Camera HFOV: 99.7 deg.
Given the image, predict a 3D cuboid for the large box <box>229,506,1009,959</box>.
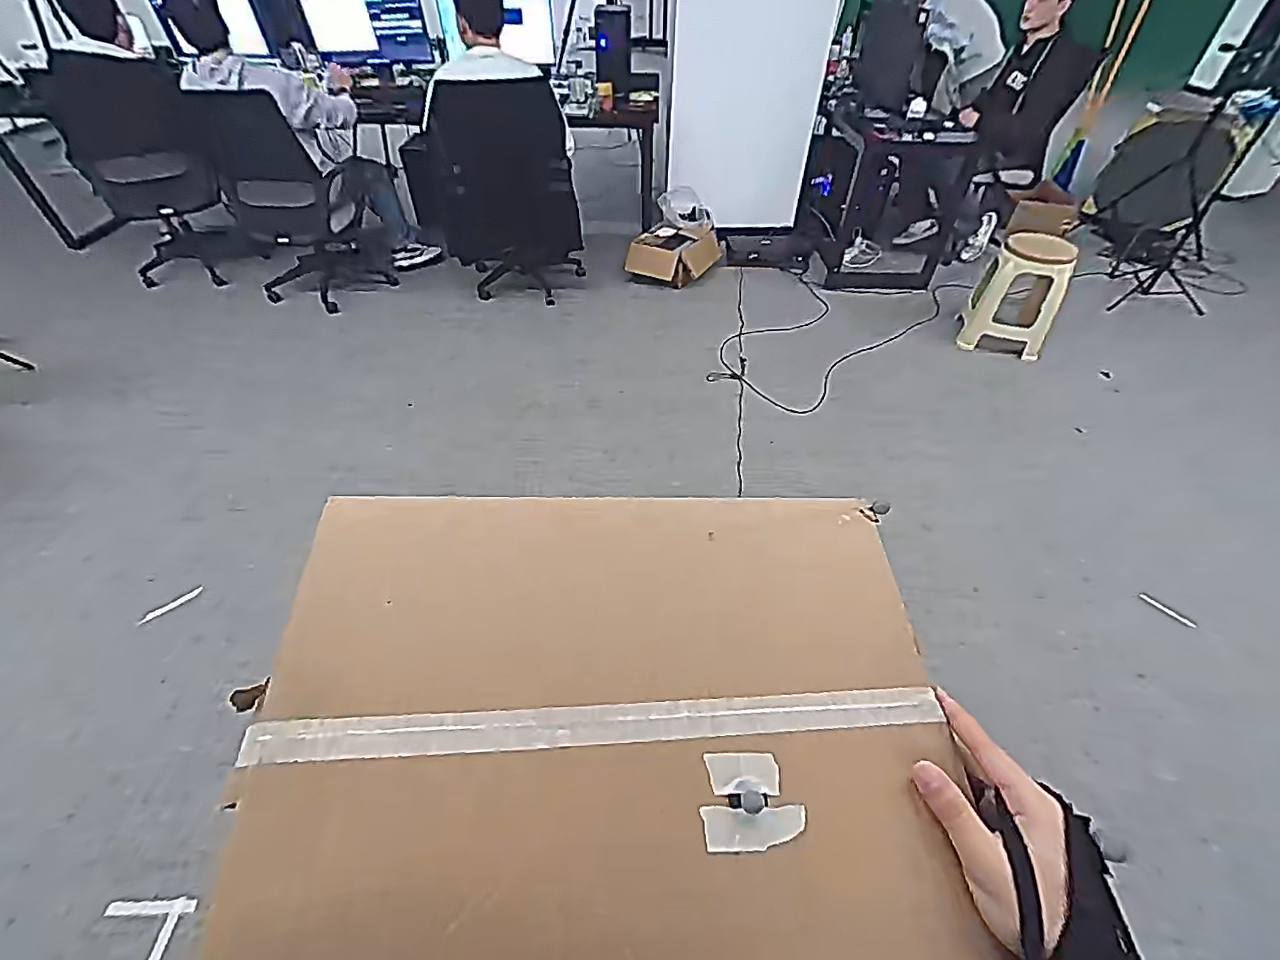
[{"bbox_3d":[-0.026,0.230,0.458,0.408,0.320,0.320,1,58,-8],"label":"large box"}]
